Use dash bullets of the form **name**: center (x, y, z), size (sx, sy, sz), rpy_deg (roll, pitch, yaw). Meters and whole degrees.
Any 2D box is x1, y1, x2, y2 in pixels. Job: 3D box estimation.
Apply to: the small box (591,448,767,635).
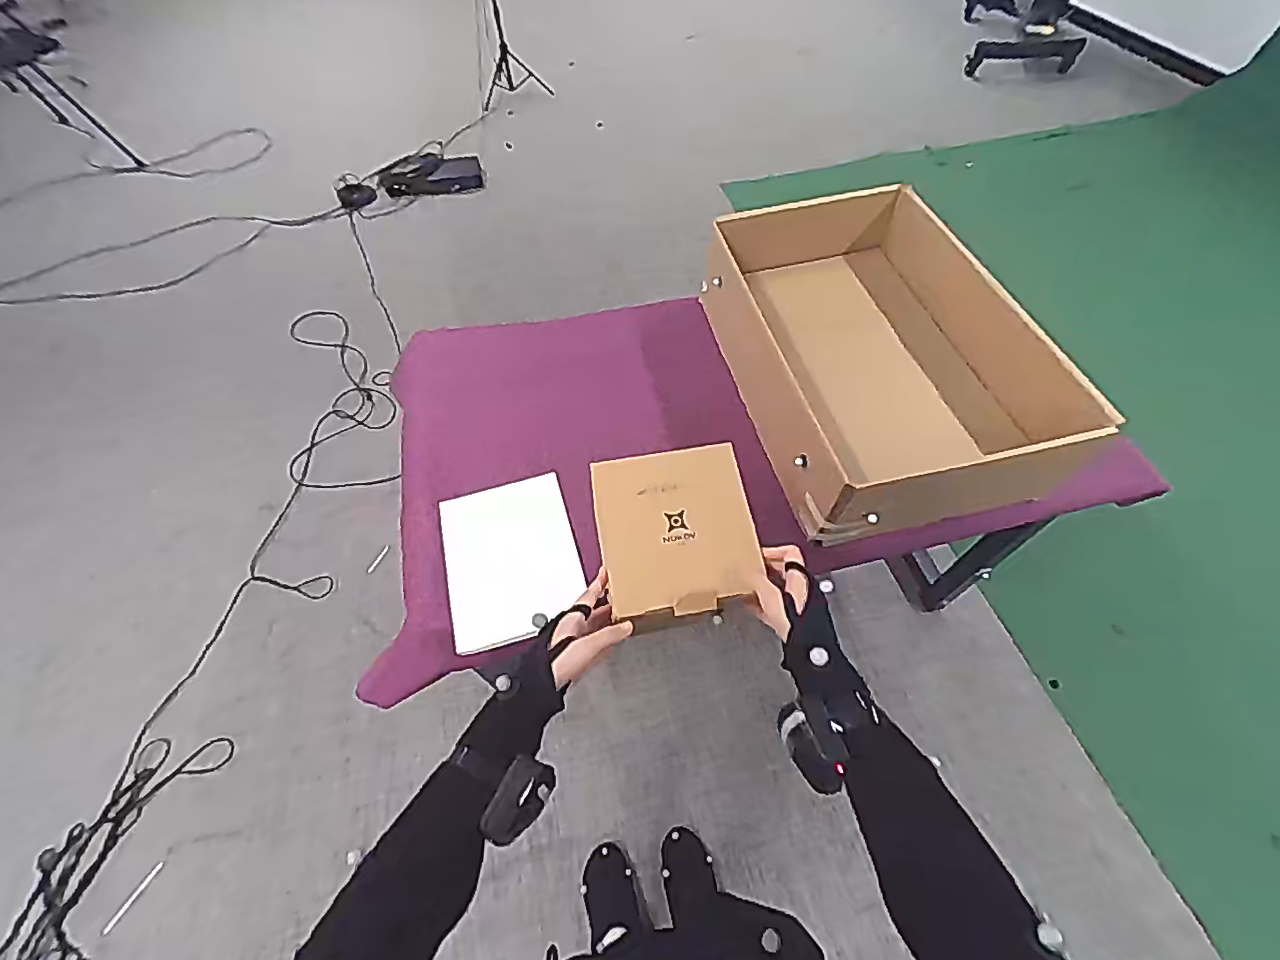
- **small box**: center (0.036, 0.084, 0.655), size (0.168, 0.176, 0.179), rpy_deg (-8, 67, -7)
